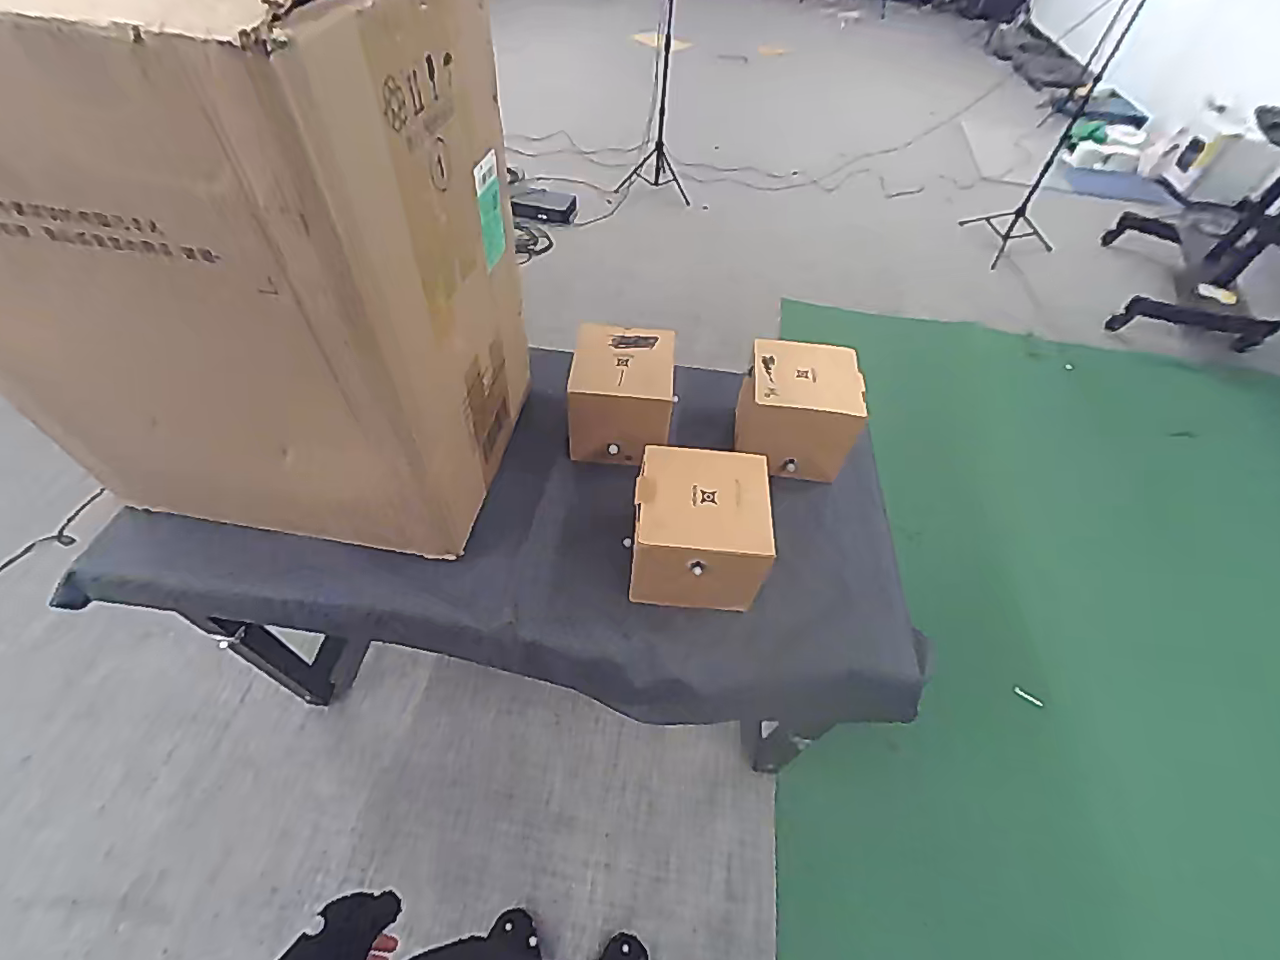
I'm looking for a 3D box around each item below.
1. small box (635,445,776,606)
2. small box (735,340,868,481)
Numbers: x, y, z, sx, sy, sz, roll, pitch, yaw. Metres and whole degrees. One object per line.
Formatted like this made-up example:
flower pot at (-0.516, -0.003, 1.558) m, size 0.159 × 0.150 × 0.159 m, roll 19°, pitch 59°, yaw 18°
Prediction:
small box at (0.087, 0.071, 0.789) m, size 0.179 × 0.176 × 0.168 m, roll 6°, pitch 53°, yaw -1°
small box at (0.273, -0.117, 0.949) m, size 0.179 × 0.176 × 0.168 m, roll 8°, pitch 51°, yaw 2°
